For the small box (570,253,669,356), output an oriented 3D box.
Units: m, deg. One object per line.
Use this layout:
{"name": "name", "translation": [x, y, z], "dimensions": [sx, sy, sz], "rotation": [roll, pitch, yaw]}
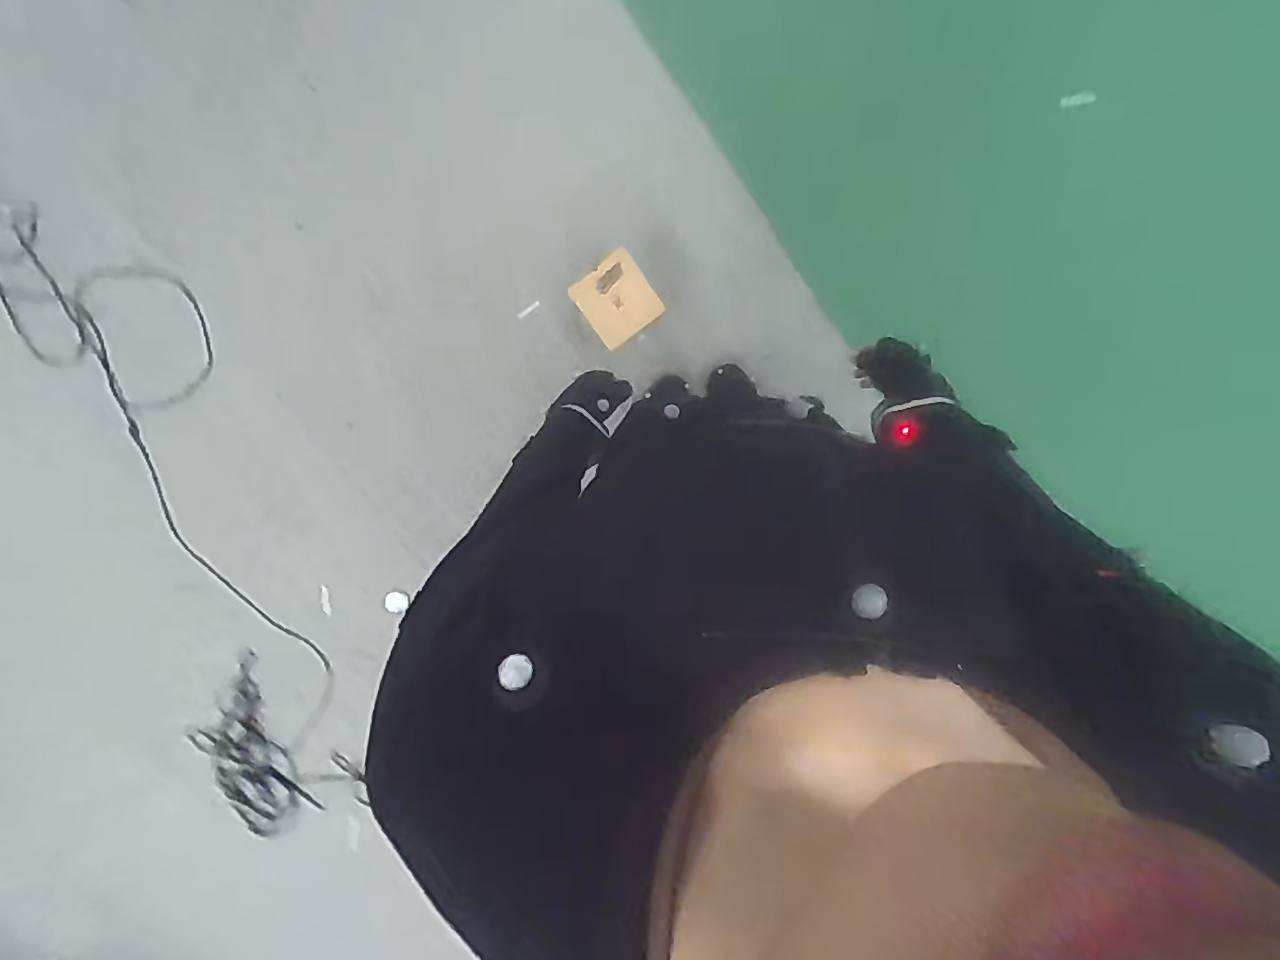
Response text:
{"name": "small box", "translation": [-0.045, -0.418, 1.321], "dimensions": [0.168, 0.176, 0.179], "rotation": [-36, 99, 11]}
